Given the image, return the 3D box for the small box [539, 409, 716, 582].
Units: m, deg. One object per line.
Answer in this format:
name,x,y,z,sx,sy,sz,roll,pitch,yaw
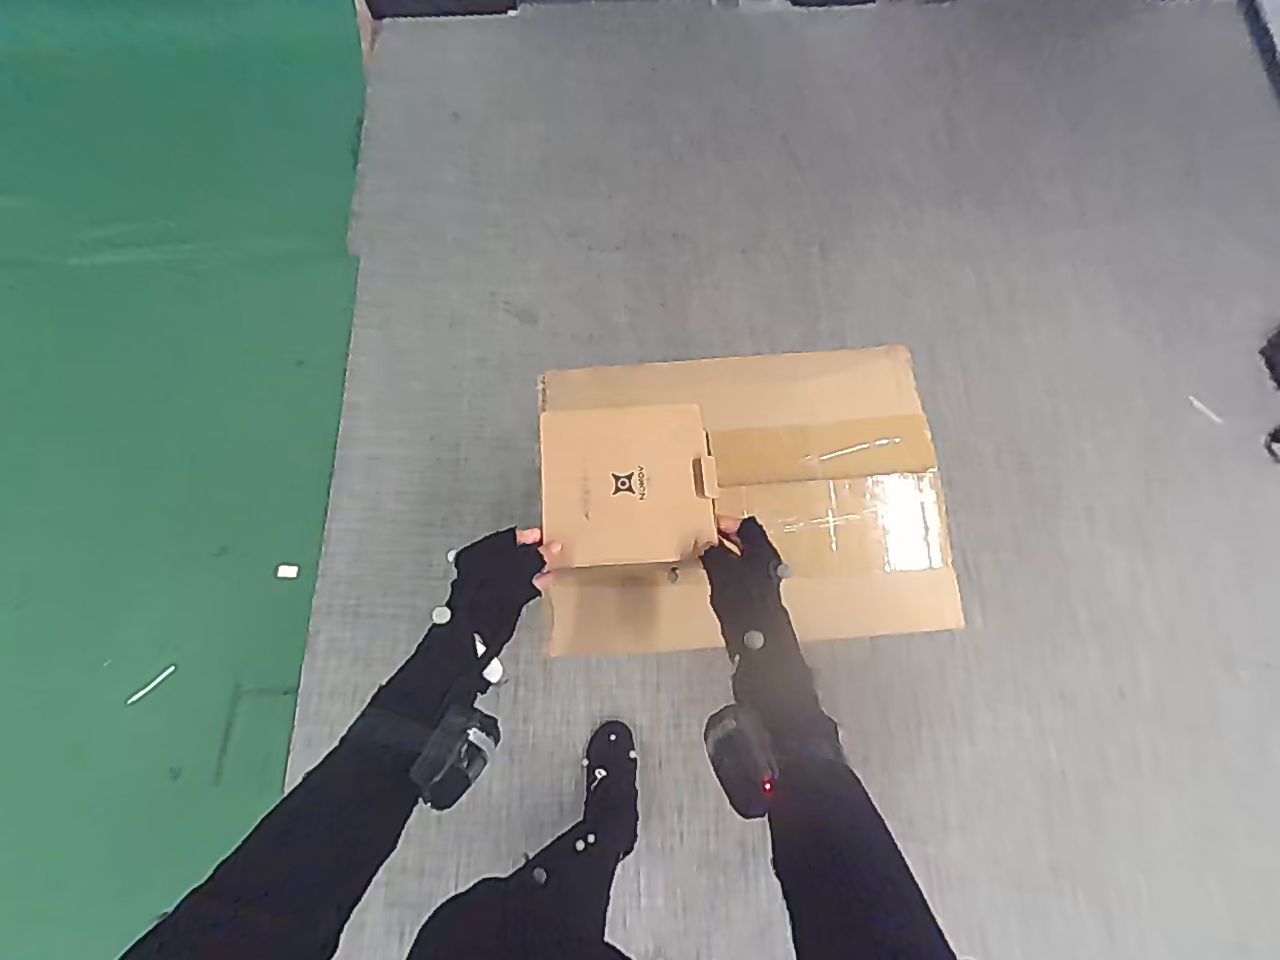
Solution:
small box,-0.015,0.027,0.635,0.179,0.176,0.168,-5,76,0
